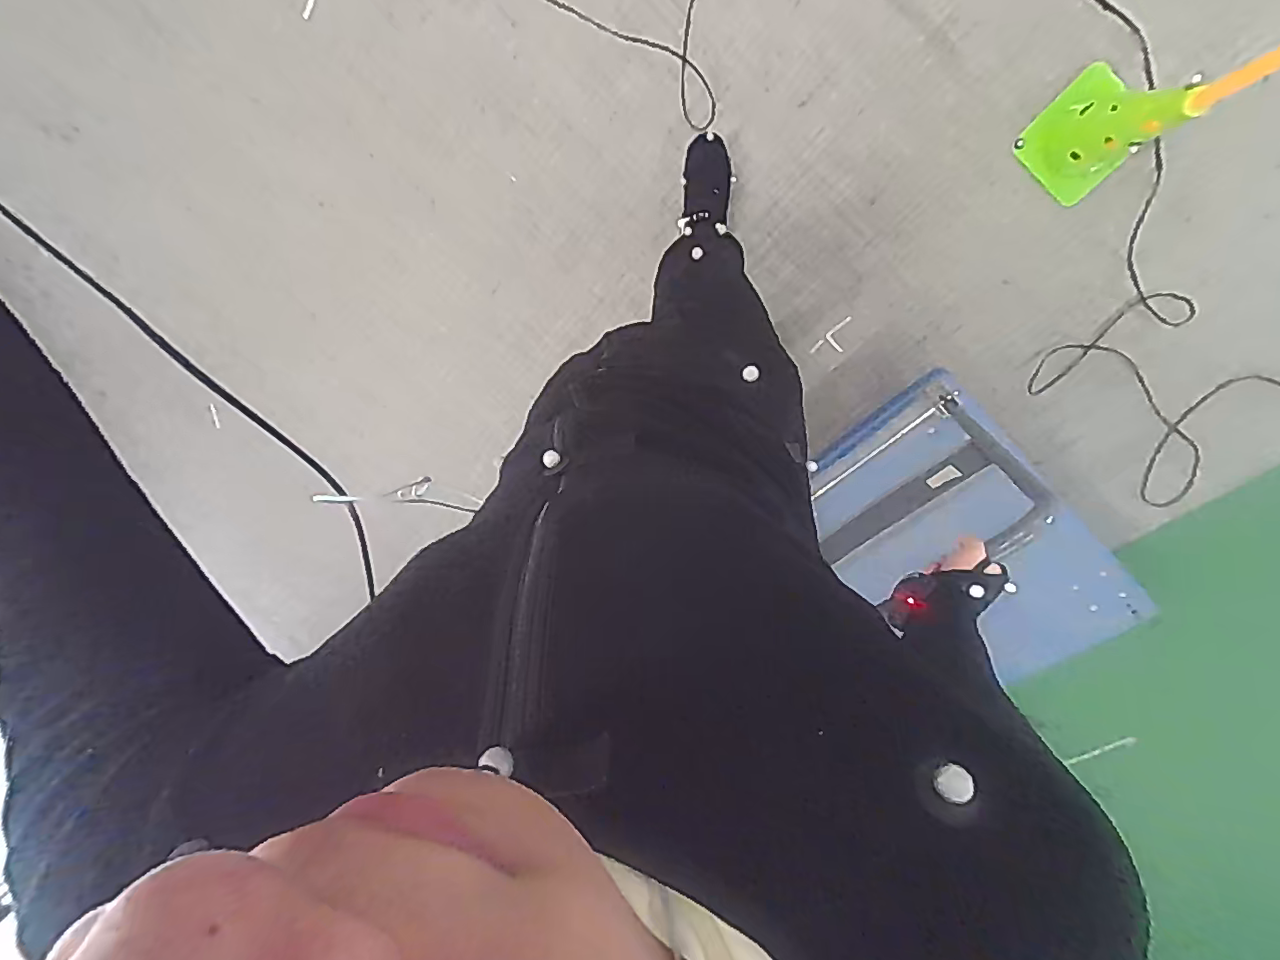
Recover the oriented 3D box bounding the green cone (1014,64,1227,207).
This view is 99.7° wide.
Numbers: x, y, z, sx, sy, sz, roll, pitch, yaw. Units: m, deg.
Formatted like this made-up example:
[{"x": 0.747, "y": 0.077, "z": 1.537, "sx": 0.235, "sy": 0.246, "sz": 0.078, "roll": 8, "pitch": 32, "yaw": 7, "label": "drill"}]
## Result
[{"x": 0.900, "y": -0.649, "z": 0.982, "sx": 0.200, "sy": 0.368, "sz": 0.202, "roll": 39, "pitch": 115, "yaw": -7, "label": "green cone"}]
